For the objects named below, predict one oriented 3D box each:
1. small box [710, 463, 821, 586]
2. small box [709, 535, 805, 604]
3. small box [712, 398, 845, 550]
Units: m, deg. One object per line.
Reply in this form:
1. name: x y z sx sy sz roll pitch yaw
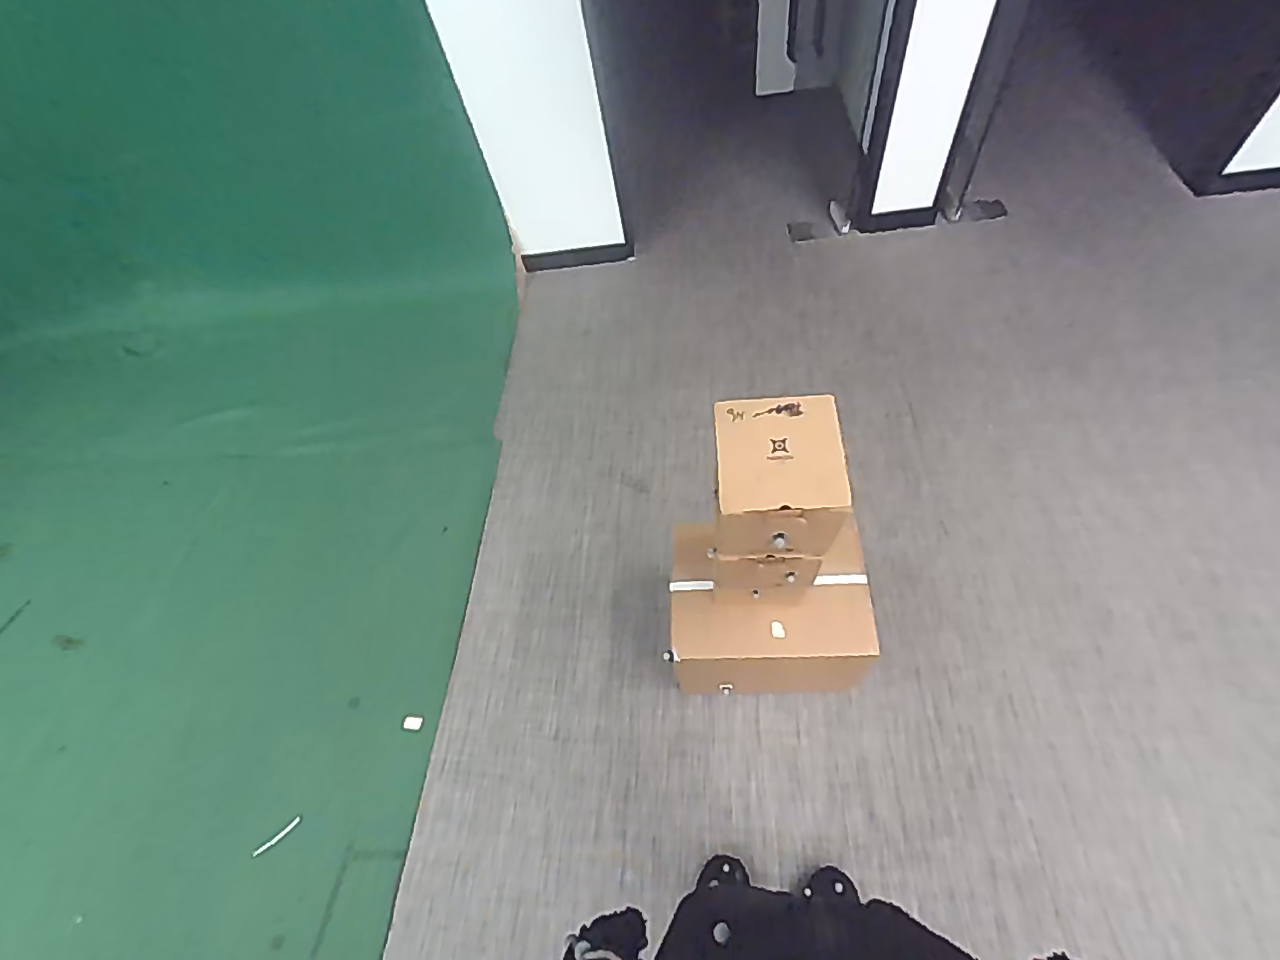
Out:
1. small box: 0.209 0.082 0.940 0.168 0.176 0.179 -3 62 7
2. small box: 0.234 0.143 1.086 0.179 0.176 0.168 3 62 11
3. small box: 0.193 0.001 0.799 0.168 0.176 0.179 -2 64 7
